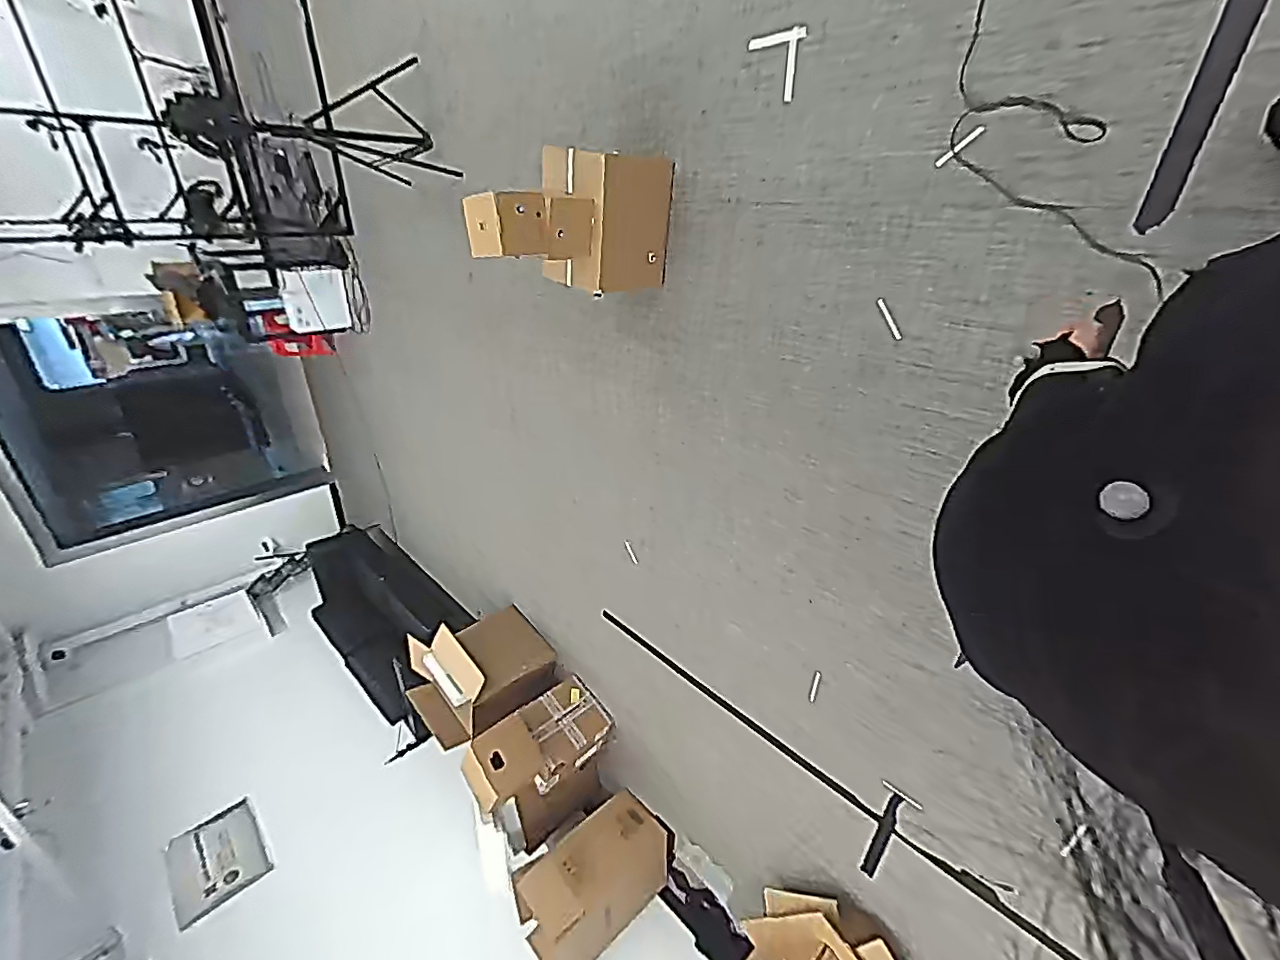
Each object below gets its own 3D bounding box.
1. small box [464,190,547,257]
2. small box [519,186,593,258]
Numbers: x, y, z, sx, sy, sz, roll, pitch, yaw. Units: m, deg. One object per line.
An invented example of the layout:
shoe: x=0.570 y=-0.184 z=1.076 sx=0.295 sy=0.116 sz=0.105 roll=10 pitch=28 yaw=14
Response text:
small box: x=-0.387 y=-0.754 z=1.592 sx=0.179 sy=0.176 sz=0.168 roll=18 pitch=121 yaw=43
small box: x=-0.261 y=-0.804 z=1.684 sx=0.168 sy=0.176 sz=0.179 roll=33 pitch=130 yaw=33
